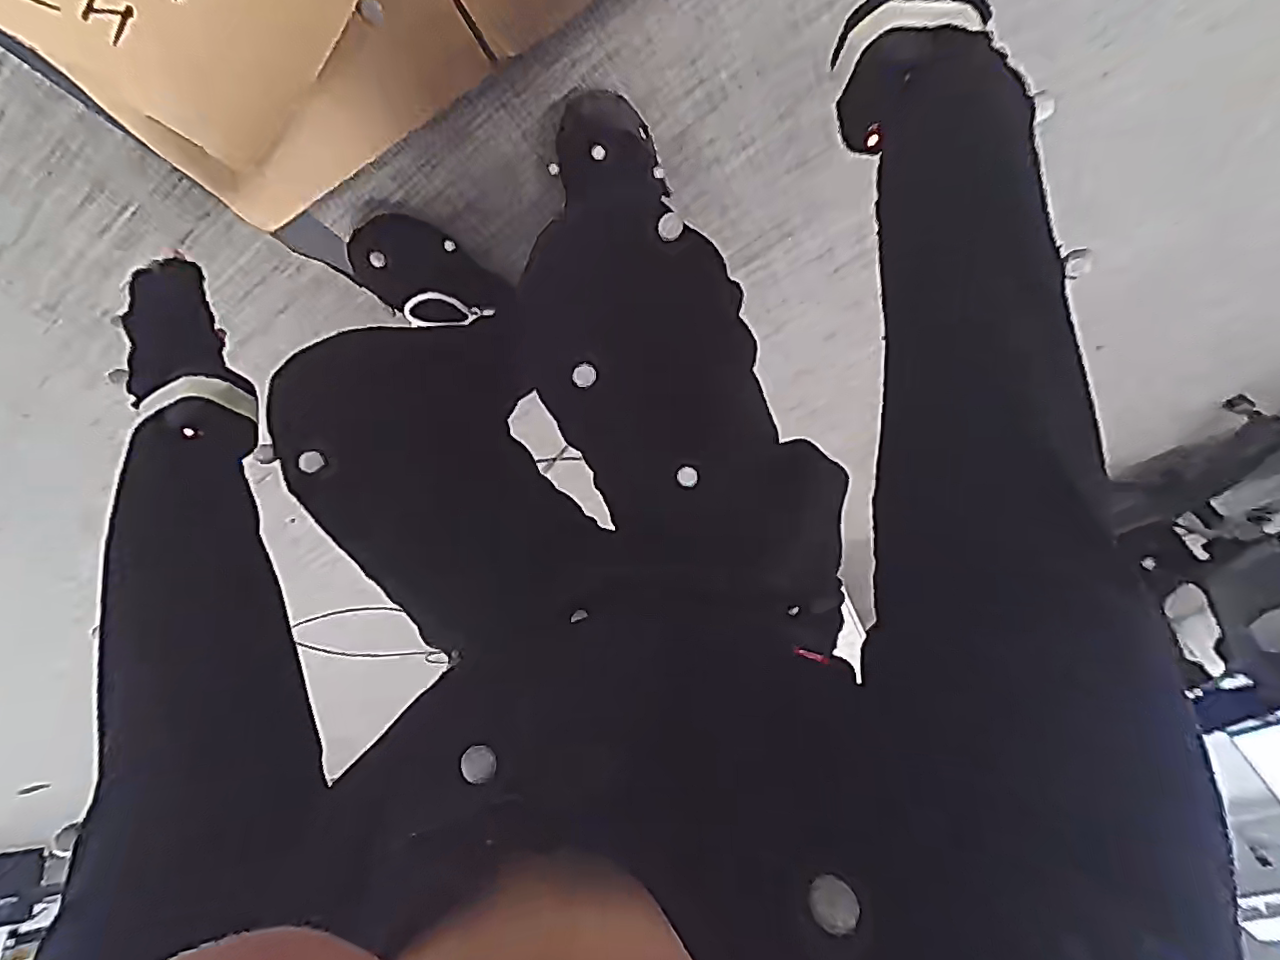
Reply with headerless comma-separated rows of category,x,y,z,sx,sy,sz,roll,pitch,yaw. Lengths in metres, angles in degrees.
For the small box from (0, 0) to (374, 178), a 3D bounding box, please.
small box,-0.261,-0.335,0.313,0.179,0.176,0.168,-33,144,27
